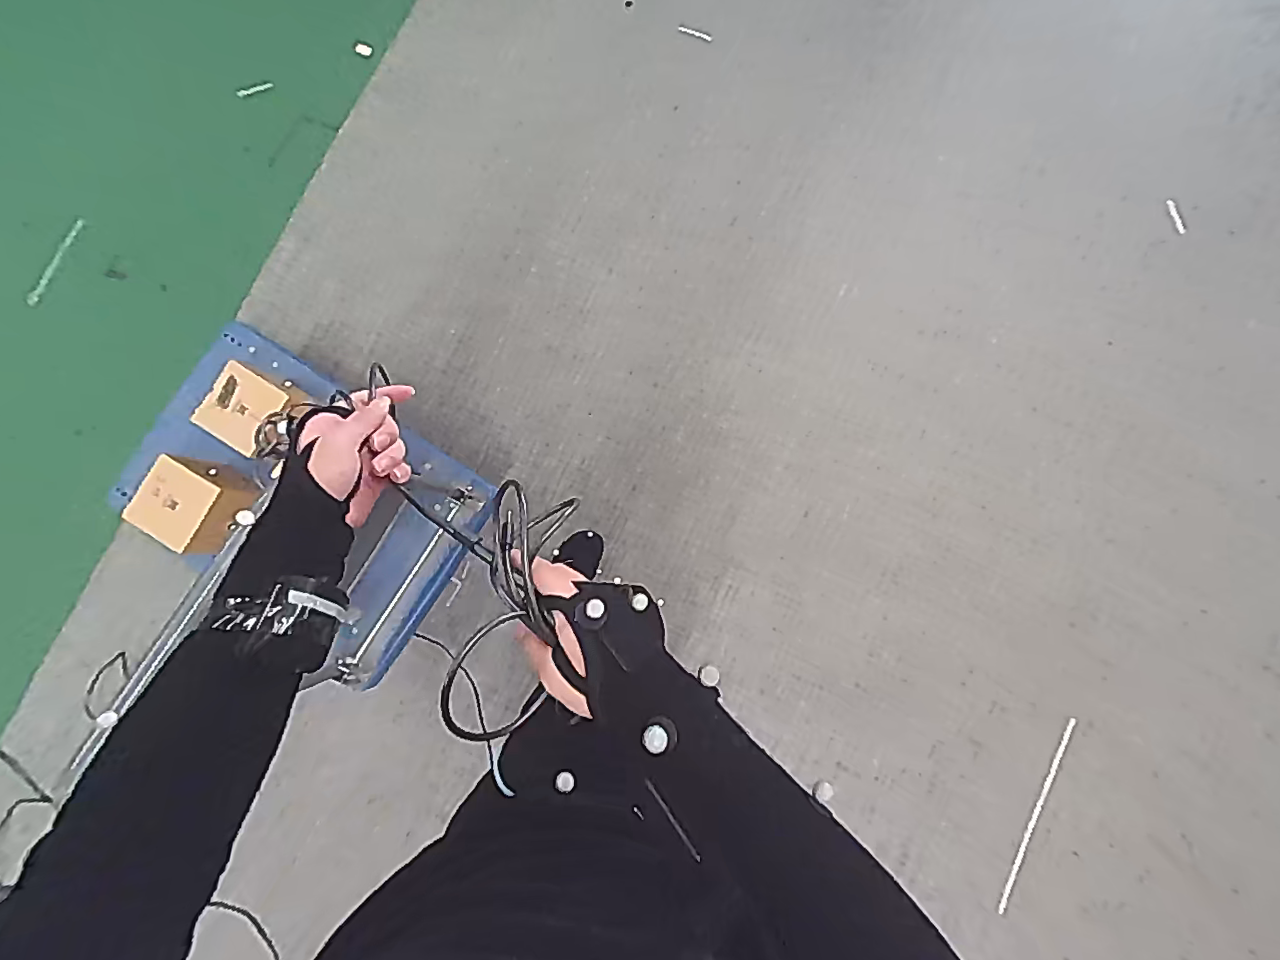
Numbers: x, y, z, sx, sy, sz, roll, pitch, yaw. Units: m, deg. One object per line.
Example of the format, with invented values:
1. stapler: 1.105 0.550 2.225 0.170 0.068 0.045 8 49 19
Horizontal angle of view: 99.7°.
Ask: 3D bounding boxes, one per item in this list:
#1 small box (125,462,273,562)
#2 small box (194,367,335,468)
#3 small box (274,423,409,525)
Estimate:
1. small box: -1.024 0.078 1.274 0.179 0.176 0.168 29 85 8
2. small box: -0.884 -0.136 1.289 0.179 0.176 0.168 30 87 7
3. small box: -0.684 -0.004 1.258 0.179 0.176 0.168 34 87 8
